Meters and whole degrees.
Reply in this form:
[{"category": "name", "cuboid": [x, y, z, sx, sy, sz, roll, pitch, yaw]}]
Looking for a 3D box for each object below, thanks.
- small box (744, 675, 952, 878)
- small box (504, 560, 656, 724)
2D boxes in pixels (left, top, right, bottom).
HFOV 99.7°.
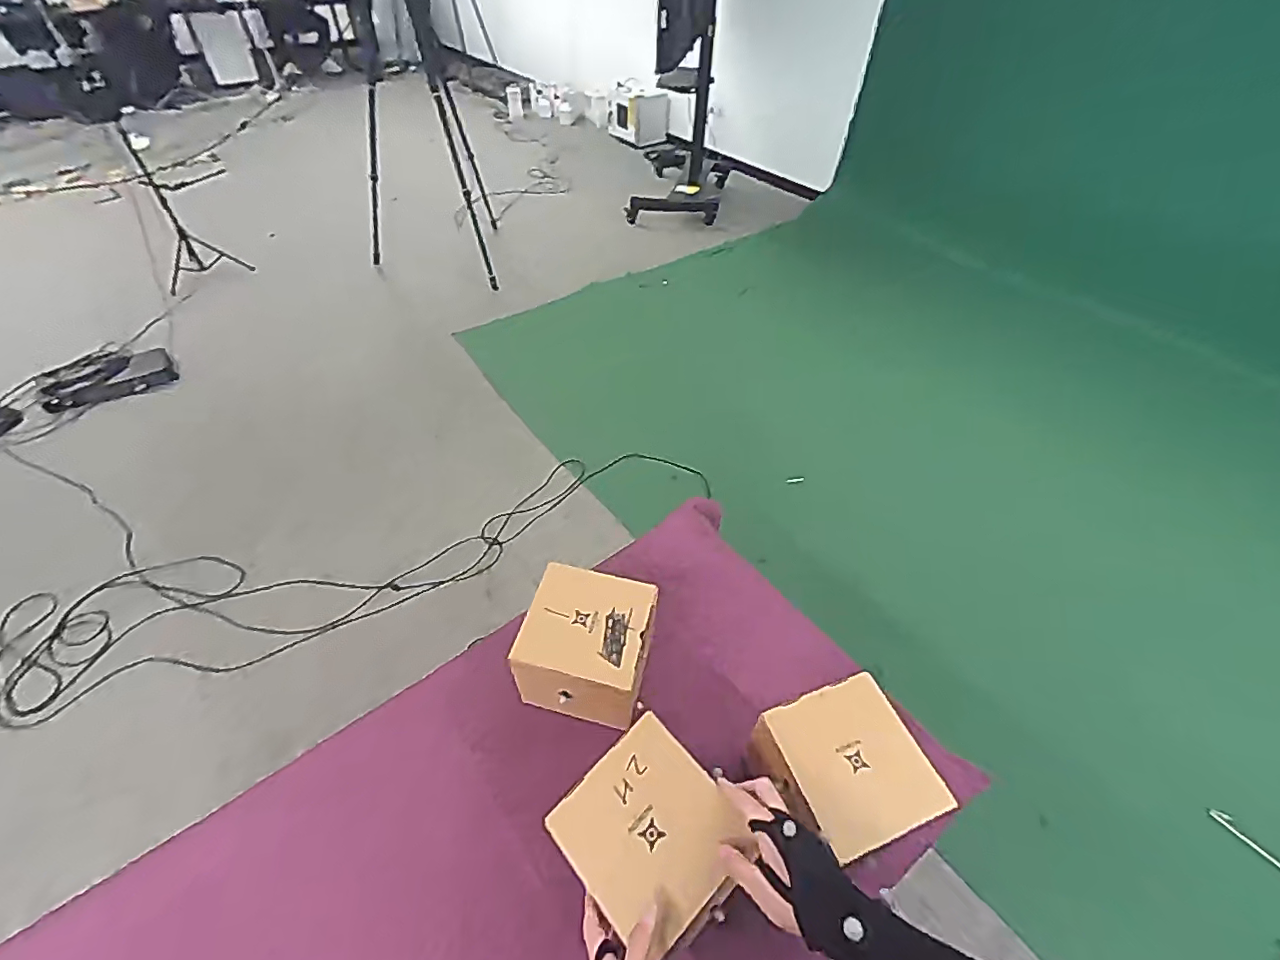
[{"category": "small box", "cuboid": [0.256, 0.394, 0.714, 0.168, 0.176, 0.179, -15, 48, -14]}, {"category": "small box", "cuboid": [-0.083, 0.251, 0.826, 0.179, 0.176, 0.168, 12, 49, 8]}]
